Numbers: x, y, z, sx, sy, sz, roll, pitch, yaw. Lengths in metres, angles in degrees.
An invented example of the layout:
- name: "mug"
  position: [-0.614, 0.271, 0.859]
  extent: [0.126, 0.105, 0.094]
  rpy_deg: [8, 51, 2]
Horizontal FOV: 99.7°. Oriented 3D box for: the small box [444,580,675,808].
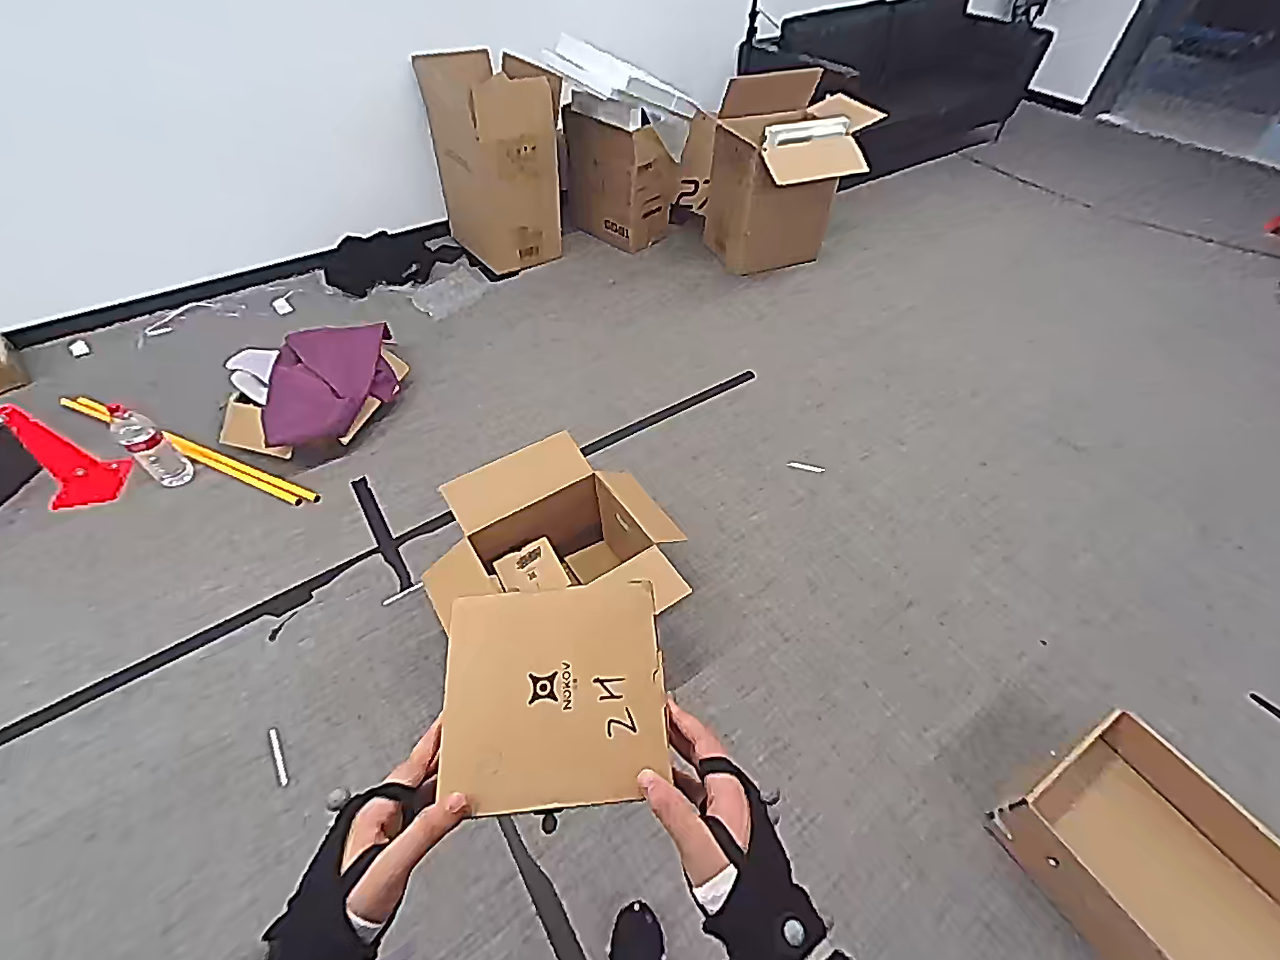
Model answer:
- name: "small box"
  position: [-0.065, 0.206, 0.509]
  extent: [0.179, 0.176, 0.168]
  rpy_deg: [-5, 60, -3]
